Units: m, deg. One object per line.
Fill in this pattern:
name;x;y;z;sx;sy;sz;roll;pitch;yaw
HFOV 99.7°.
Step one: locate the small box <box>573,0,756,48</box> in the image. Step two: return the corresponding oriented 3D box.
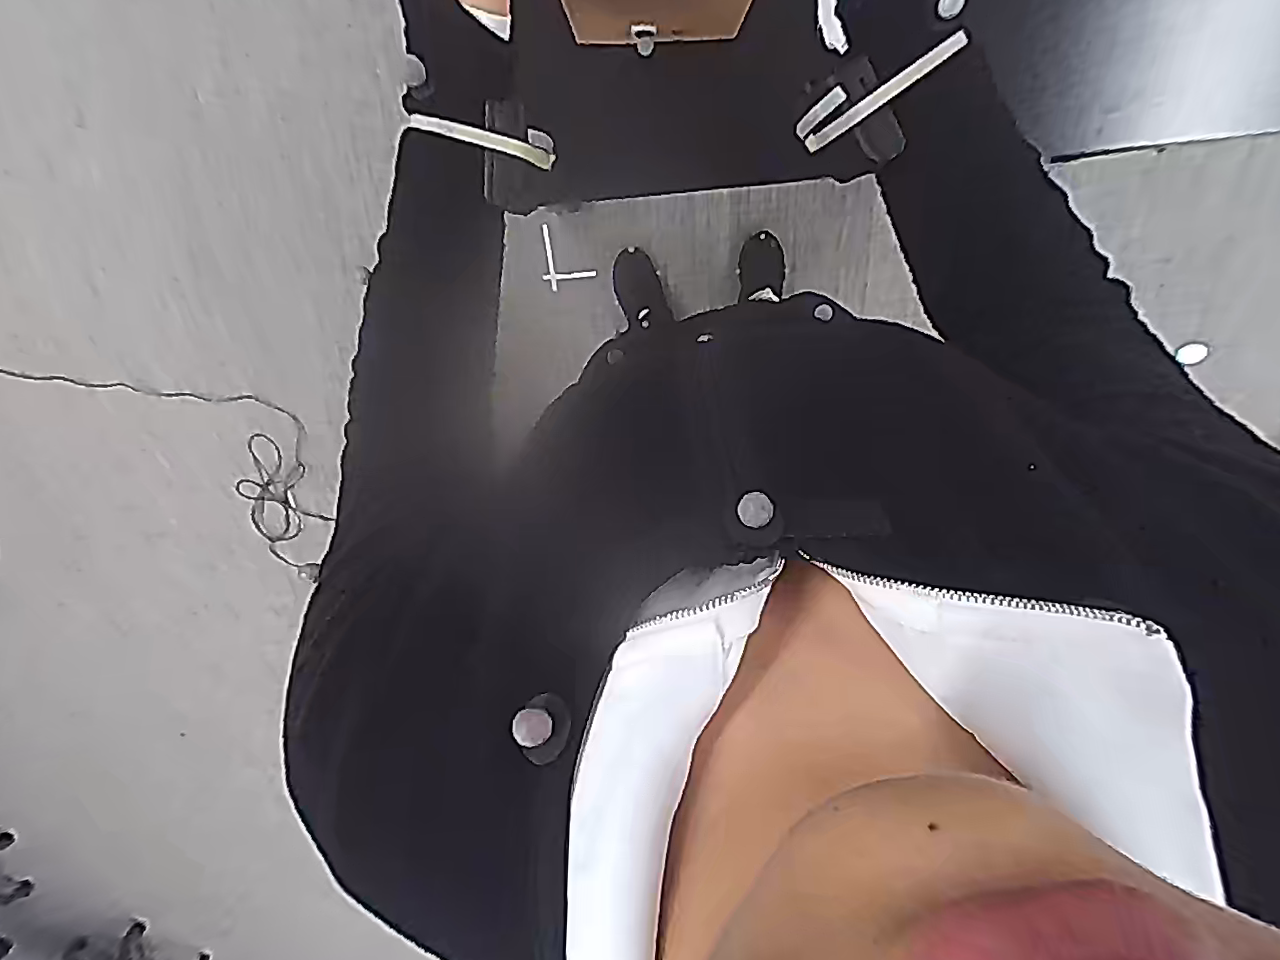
small box;0.017;-0.497;0.453;0.168;0.176;0.179;-2;116;3
